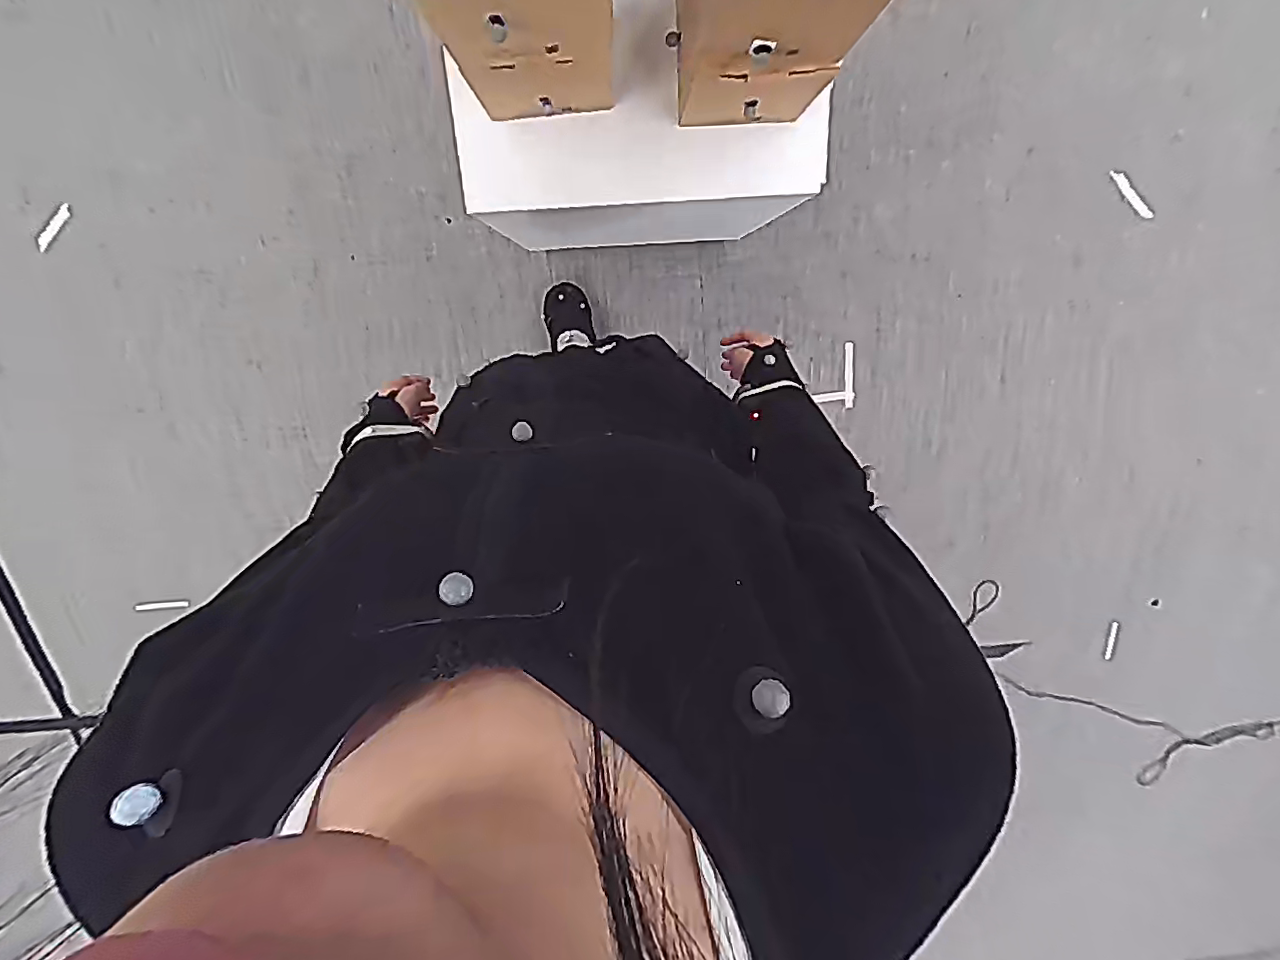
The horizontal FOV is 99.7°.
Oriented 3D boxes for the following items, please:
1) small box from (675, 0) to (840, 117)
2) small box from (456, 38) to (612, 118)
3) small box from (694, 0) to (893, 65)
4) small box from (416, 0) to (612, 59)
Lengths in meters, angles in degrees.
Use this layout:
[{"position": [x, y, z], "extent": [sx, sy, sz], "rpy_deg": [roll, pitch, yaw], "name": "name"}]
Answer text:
[{"position": [0.132, -0.548, 0.637], "extent": [0.168, 0.176, 0.179], "rpy_deg": [-3, 109, -1], "name": "small box"}, {"position": [-0.123, -0.553, 0.626], "extent": [0.168, 0.176, 0.179], "rpy_deg": [-6, 108, 0], "name": "small box"}, {"position": [0.137, -0.508, 0.480], "extent": [0.168, 0.176, 0.179], "rpy_deg": [-3, 108, 0], "name": "small box"}, {"position": [-0.114, -0.501, 0.472], "extent": [0.168, 0.176, 0.179], "rpy_deg": [-5, 107, -1], "name": "small box"}]
